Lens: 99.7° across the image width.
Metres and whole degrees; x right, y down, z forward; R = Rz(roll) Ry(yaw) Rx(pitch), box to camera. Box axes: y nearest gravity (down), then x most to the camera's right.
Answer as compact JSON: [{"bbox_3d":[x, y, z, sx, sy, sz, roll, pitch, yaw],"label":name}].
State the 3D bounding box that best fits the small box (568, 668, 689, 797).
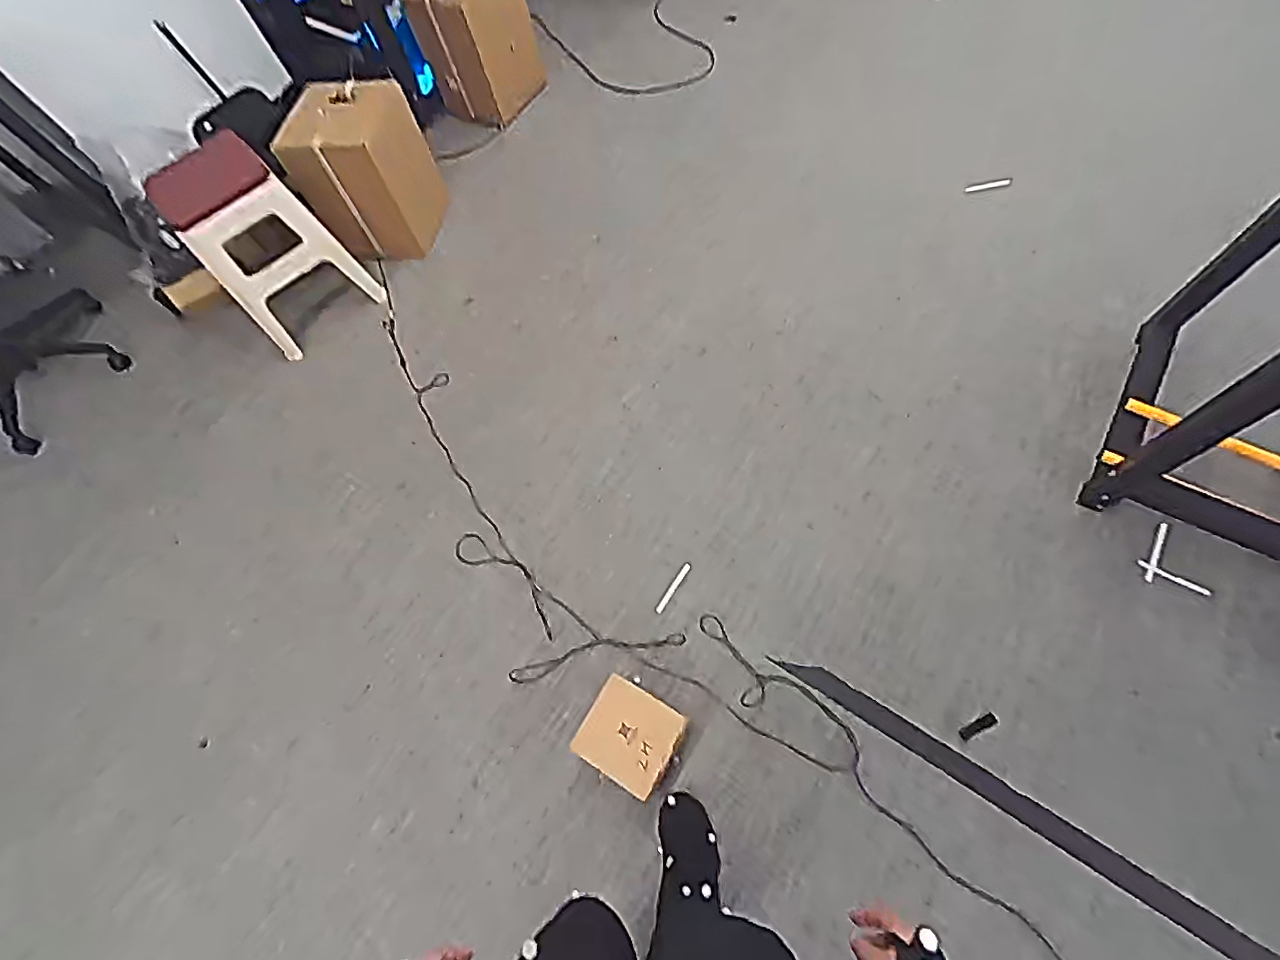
[{"bbox_3d":[-0.015,0.510,1.102,0.179,0.176,0.168,27,73,18],"label":"small box"}]
